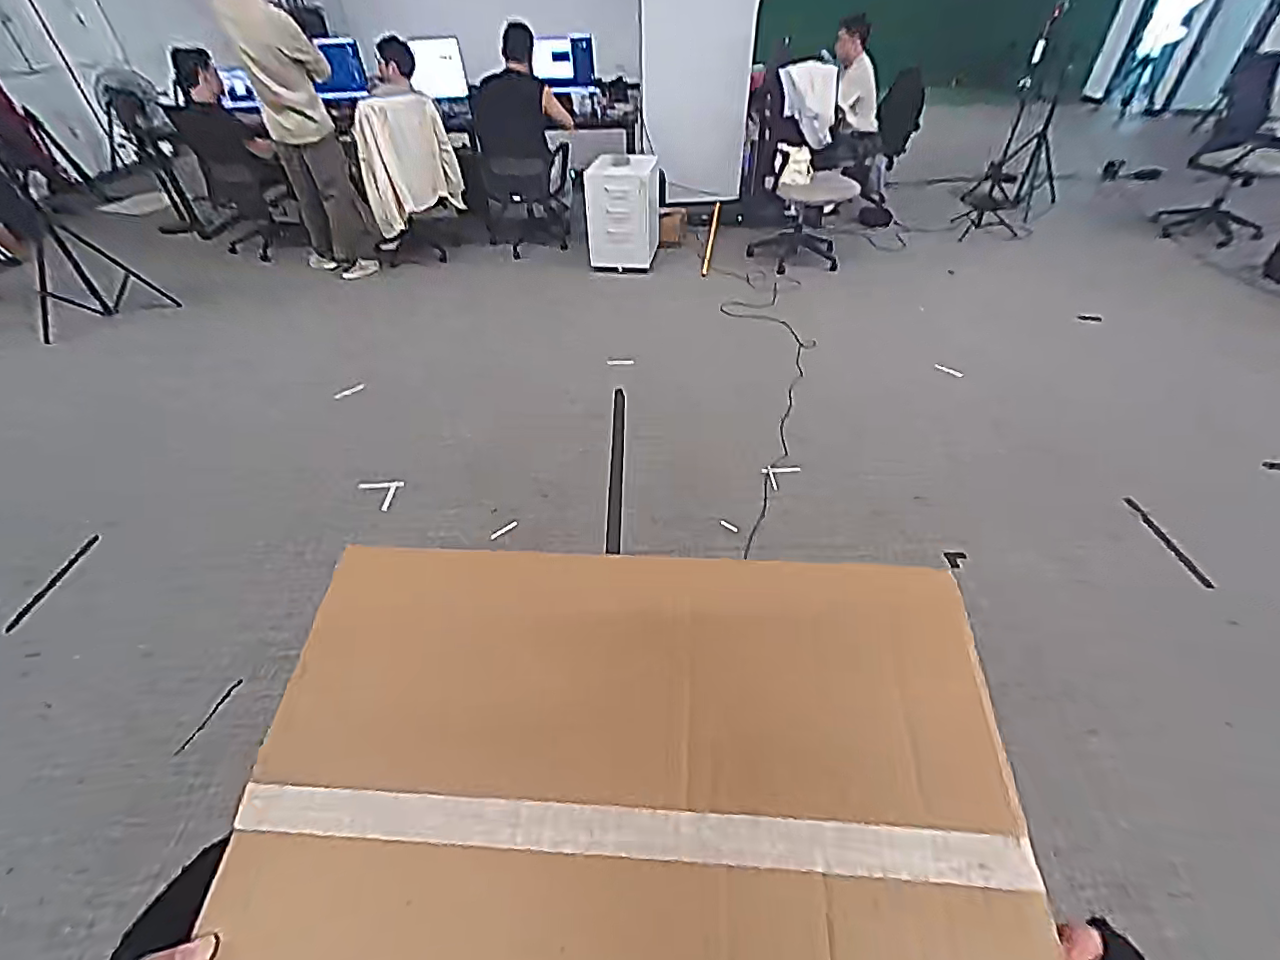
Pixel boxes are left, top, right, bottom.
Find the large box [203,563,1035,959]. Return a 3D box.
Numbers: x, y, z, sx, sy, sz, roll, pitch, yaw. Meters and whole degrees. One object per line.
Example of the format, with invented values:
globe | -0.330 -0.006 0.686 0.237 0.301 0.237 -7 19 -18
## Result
large box | -0.006 0.273 0.408 0.408 0.320 0.320 2 56 5
